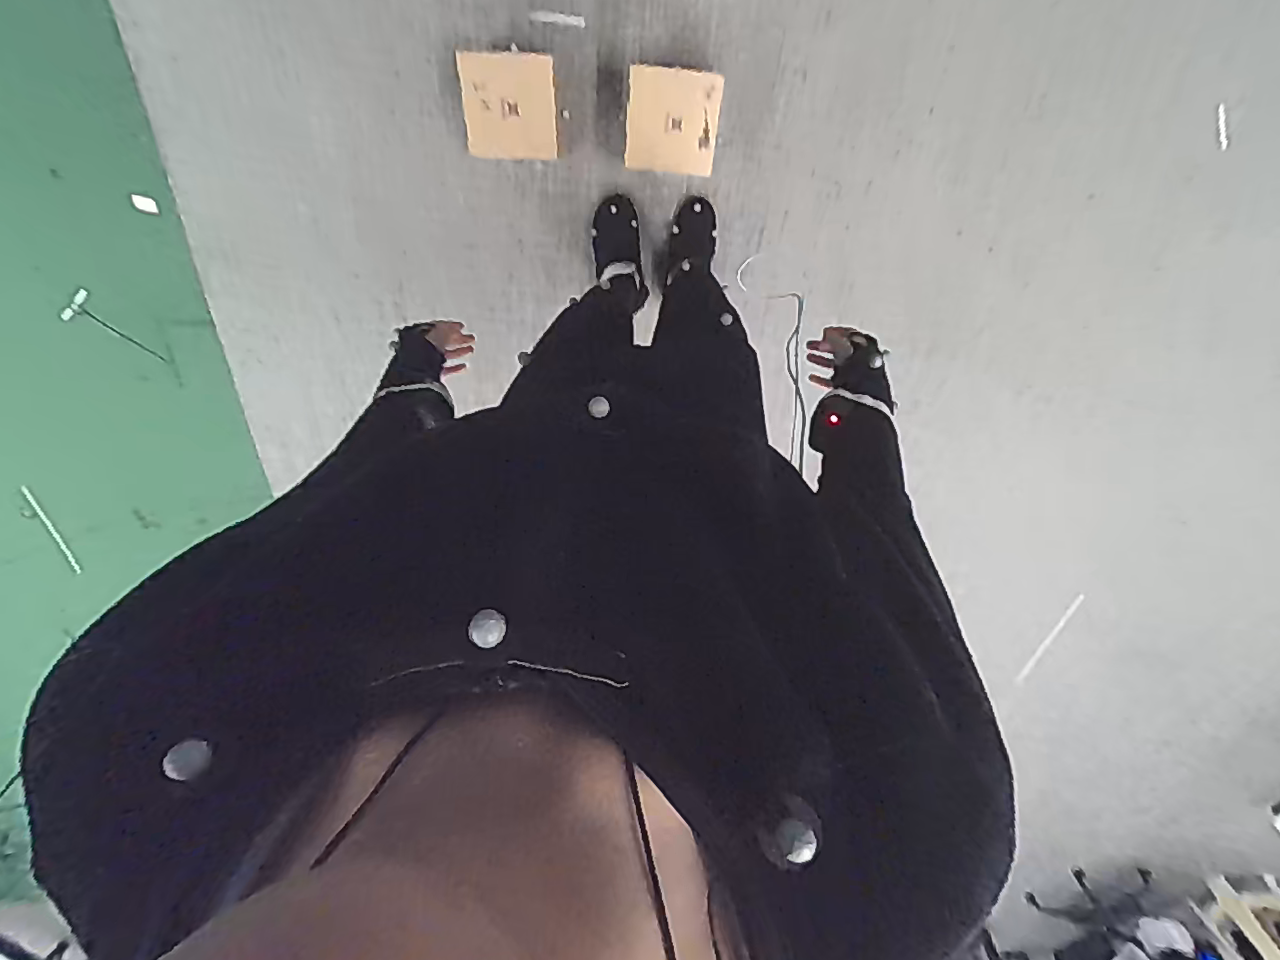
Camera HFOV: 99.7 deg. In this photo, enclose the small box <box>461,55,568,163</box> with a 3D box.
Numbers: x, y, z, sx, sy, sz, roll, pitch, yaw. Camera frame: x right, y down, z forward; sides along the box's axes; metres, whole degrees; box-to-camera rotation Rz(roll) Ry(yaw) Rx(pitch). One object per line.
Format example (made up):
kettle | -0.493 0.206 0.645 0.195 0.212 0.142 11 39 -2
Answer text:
small box | -0.240 -0.742 1.088 0.179 0.176 0.168 3 123 0
